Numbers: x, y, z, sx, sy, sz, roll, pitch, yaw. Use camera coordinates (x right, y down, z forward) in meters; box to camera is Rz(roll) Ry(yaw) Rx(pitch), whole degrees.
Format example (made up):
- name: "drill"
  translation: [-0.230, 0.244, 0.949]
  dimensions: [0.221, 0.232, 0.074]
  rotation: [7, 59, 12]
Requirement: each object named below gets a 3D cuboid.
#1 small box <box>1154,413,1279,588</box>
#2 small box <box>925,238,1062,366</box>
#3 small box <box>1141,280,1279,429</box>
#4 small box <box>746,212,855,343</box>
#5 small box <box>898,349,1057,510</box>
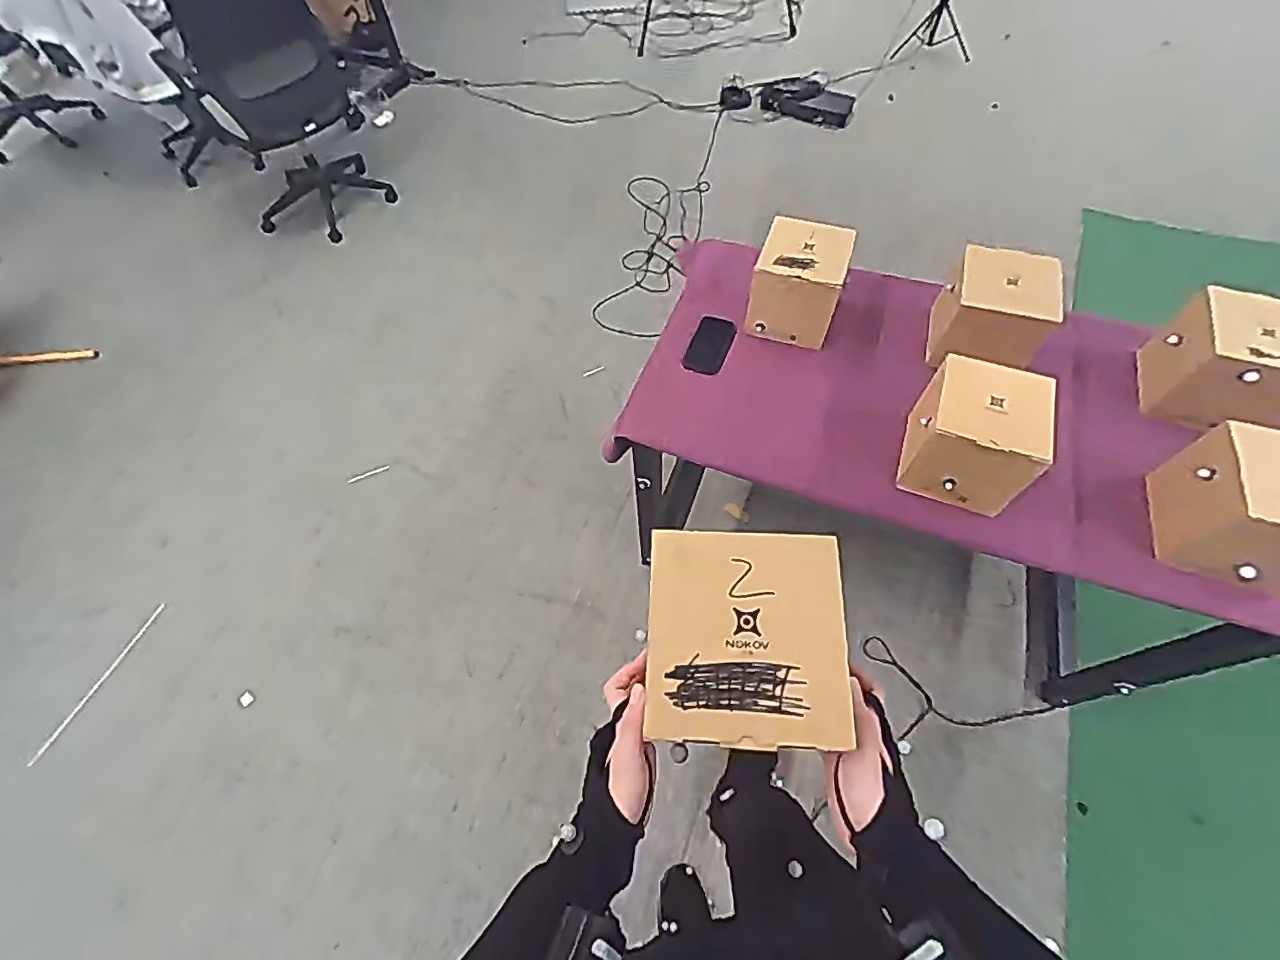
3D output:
- name: "small box"
  translation: [0.919, 0.033, 0.804]
  dimensions: [0.168, 0.176, 0.179]
  rotation: [16, 62, 14]
- name: "small box"
  translation: [0.670, -0.326, 1.038]
  dimensions: [0.168, 0.176, 0.179]
  rotation: [16, 62, 13]
- name: "small box"
  translation: [1.033, -0.215, 0.950]
  dimensions: [0.168, 0.176, 0.179]
  rotation: [18, 62, 14]
- name: "small box"
  translation: [0.320, -0.408, 1.103]
  dimensions: [0.168, 0.176, 0.179]
  rotation: [17, 61, 12]
- name: "small box"
  translation: [0.551, -0.081, 0.897]
  dimensions: [0.168, 0.176, 0.179]
  rotation: [19, 61, 13]
